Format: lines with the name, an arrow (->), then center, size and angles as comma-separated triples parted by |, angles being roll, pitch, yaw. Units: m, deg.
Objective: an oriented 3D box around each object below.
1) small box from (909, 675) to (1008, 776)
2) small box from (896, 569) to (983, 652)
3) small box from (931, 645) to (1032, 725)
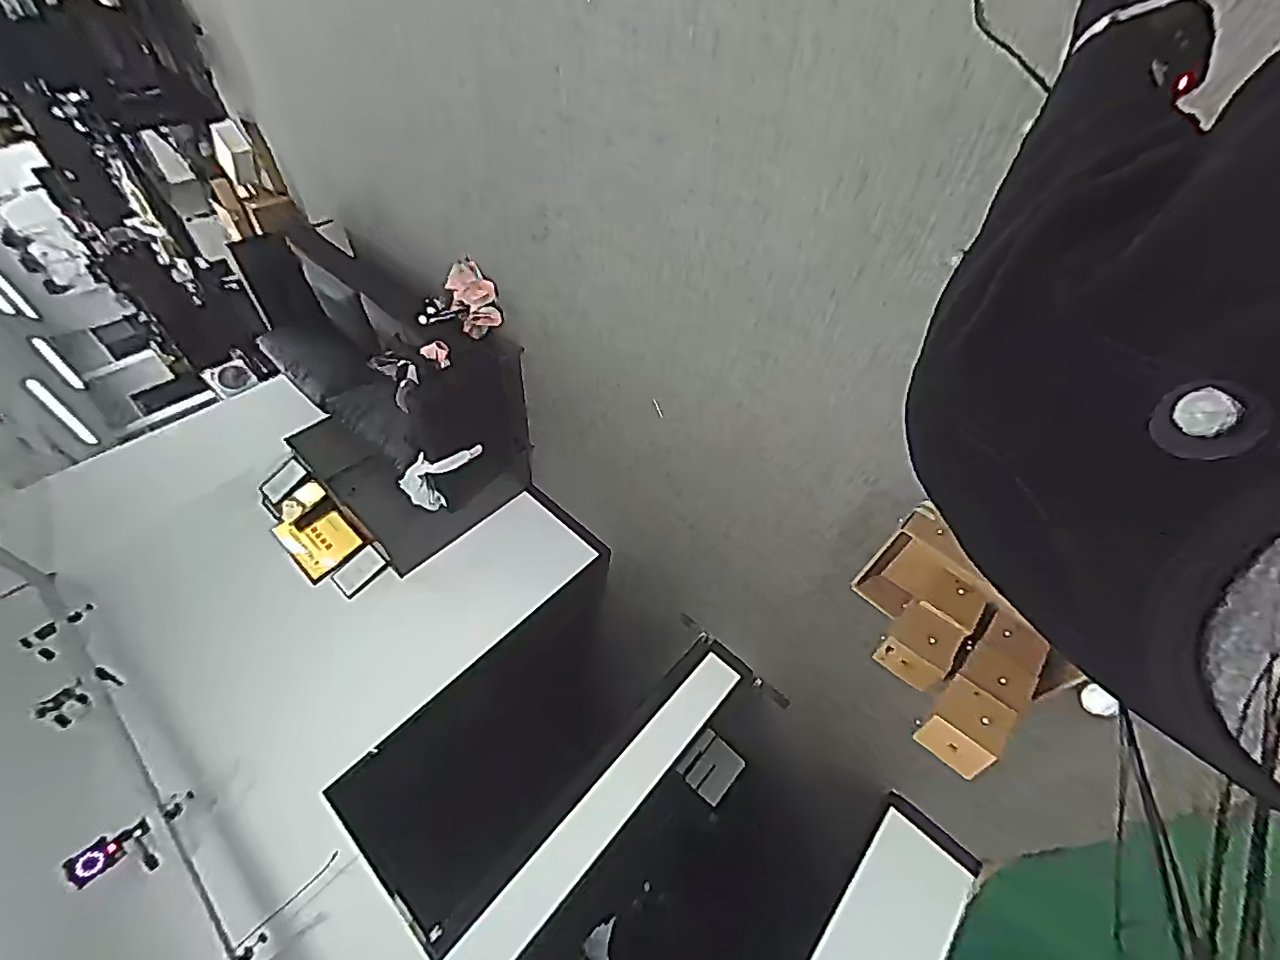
small box -> 0.908, 0.694, 1.539 | 0.168, 0.176, 0.179 | 35, 145, 28
small box -> 0.995, 0.431, 1.794 | 0.168, 0.176, 0.179 | 37, 146, 20
small box -> 1.027, 0.625, 1.627 | 0.179, 0.176, 0.168 | 37, 145, 25
